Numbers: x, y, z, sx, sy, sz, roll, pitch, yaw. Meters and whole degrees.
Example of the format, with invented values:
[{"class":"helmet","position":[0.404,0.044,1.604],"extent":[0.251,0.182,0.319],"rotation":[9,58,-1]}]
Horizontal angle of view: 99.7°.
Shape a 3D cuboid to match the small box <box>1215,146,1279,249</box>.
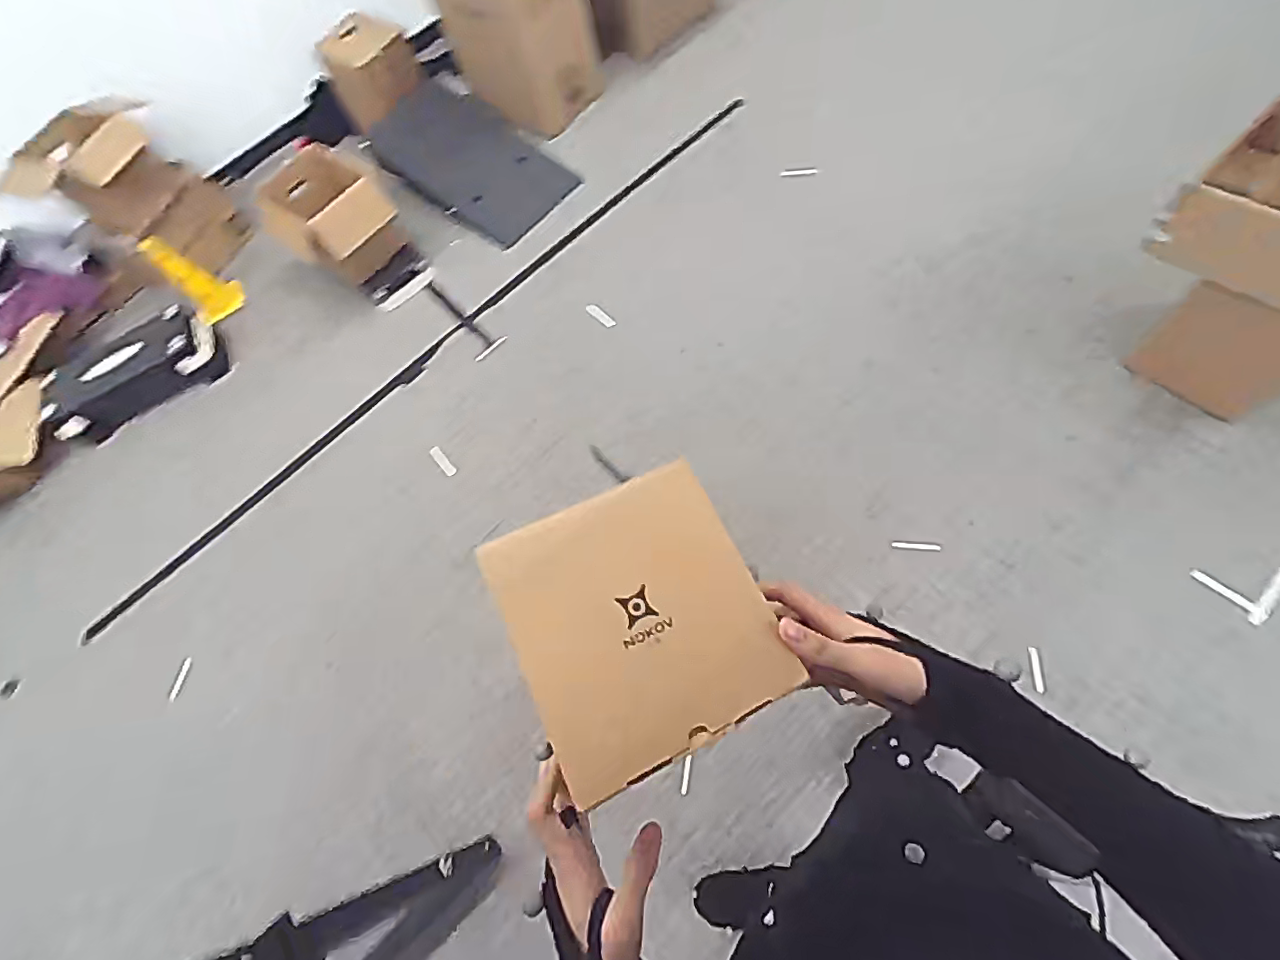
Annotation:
[{"class":"small box","position":[1.470,-0.644,1.201],"extent":[0.179,0.176,0.168],"rotation":[35,76,23]}]
